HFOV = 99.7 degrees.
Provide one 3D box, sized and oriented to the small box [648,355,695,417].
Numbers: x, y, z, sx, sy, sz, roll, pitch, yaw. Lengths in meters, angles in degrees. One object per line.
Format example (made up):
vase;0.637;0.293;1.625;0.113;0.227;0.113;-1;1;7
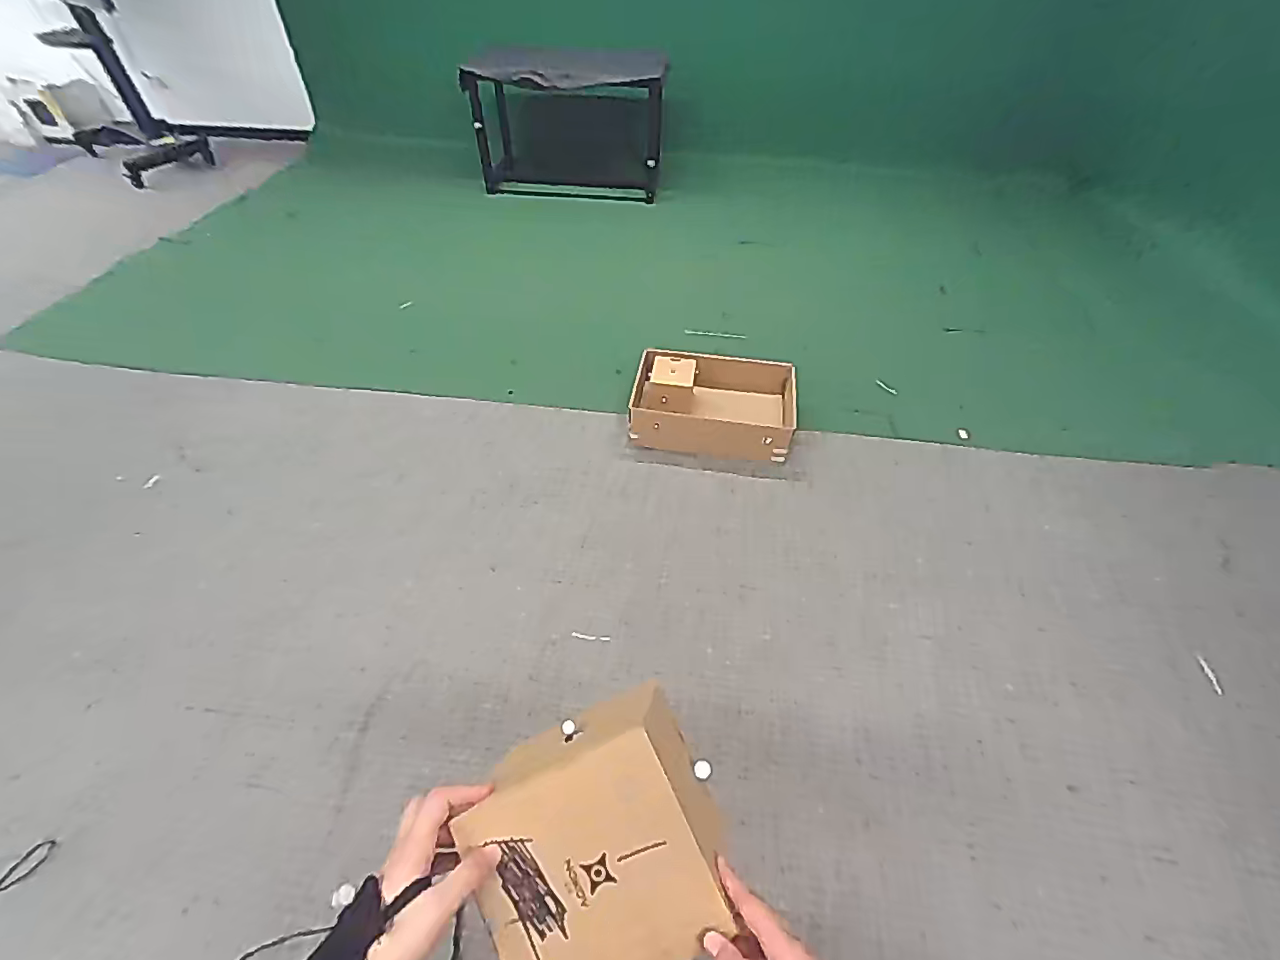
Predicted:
small box;0.123;-0.371;2.153;0.168;0.176;0.179;7;49;5

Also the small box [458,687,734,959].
small box;-0.031;0.320;0.502;0.179;0.176;0.168;-27;81;0
